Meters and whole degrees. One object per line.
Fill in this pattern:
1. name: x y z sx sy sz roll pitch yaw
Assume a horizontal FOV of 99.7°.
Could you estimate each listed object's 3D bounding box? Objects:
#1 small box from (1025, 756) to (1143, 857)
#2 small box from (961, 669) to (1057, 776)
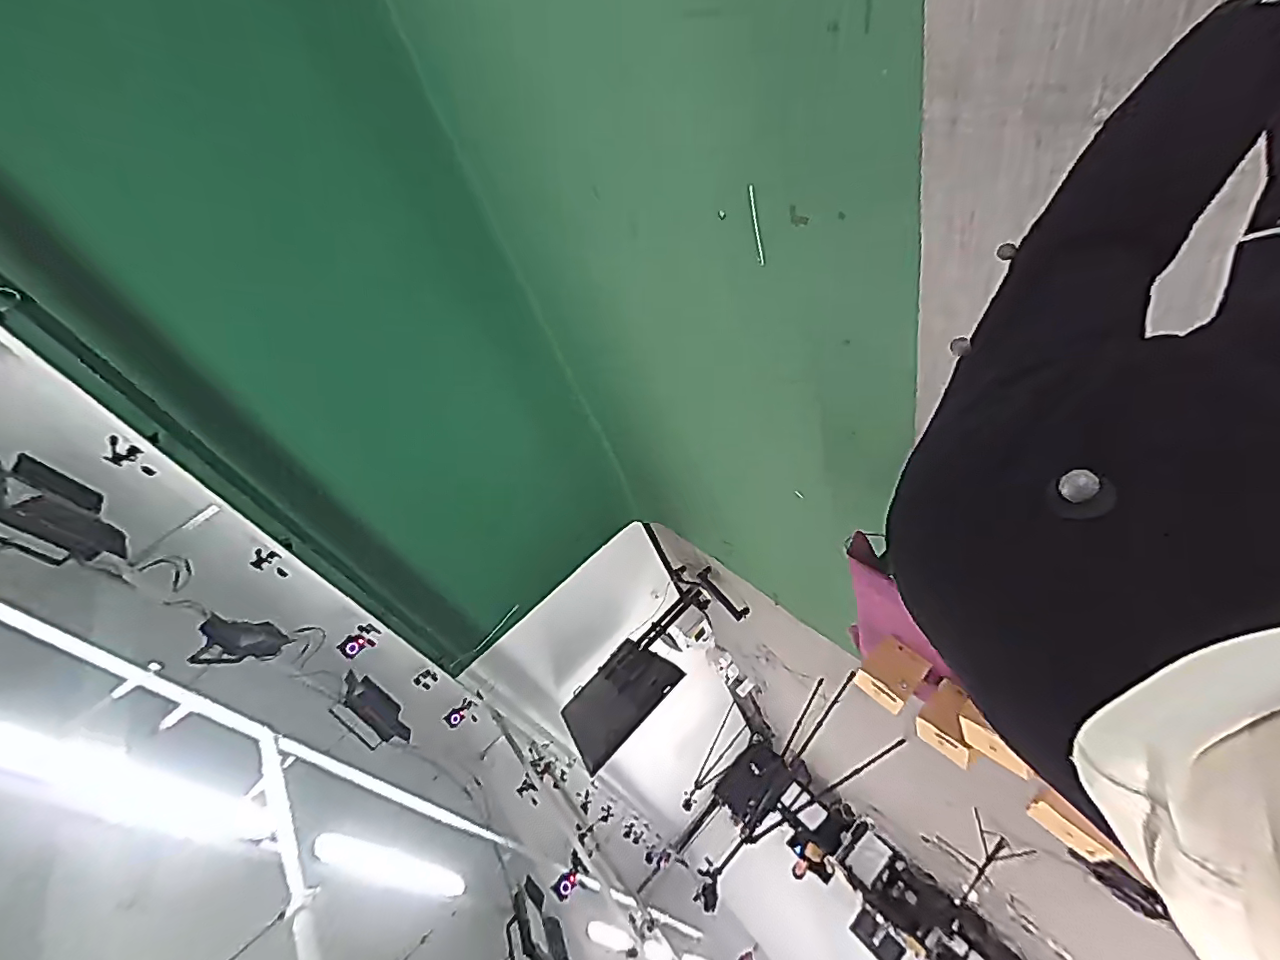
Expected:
1. small box: 1.231 0.901 1.505 0.179 0.176 0.168 36 159 36
2. small box: 1.024 0.666 1.499 0.168 0.176 0.179 25 152 51
